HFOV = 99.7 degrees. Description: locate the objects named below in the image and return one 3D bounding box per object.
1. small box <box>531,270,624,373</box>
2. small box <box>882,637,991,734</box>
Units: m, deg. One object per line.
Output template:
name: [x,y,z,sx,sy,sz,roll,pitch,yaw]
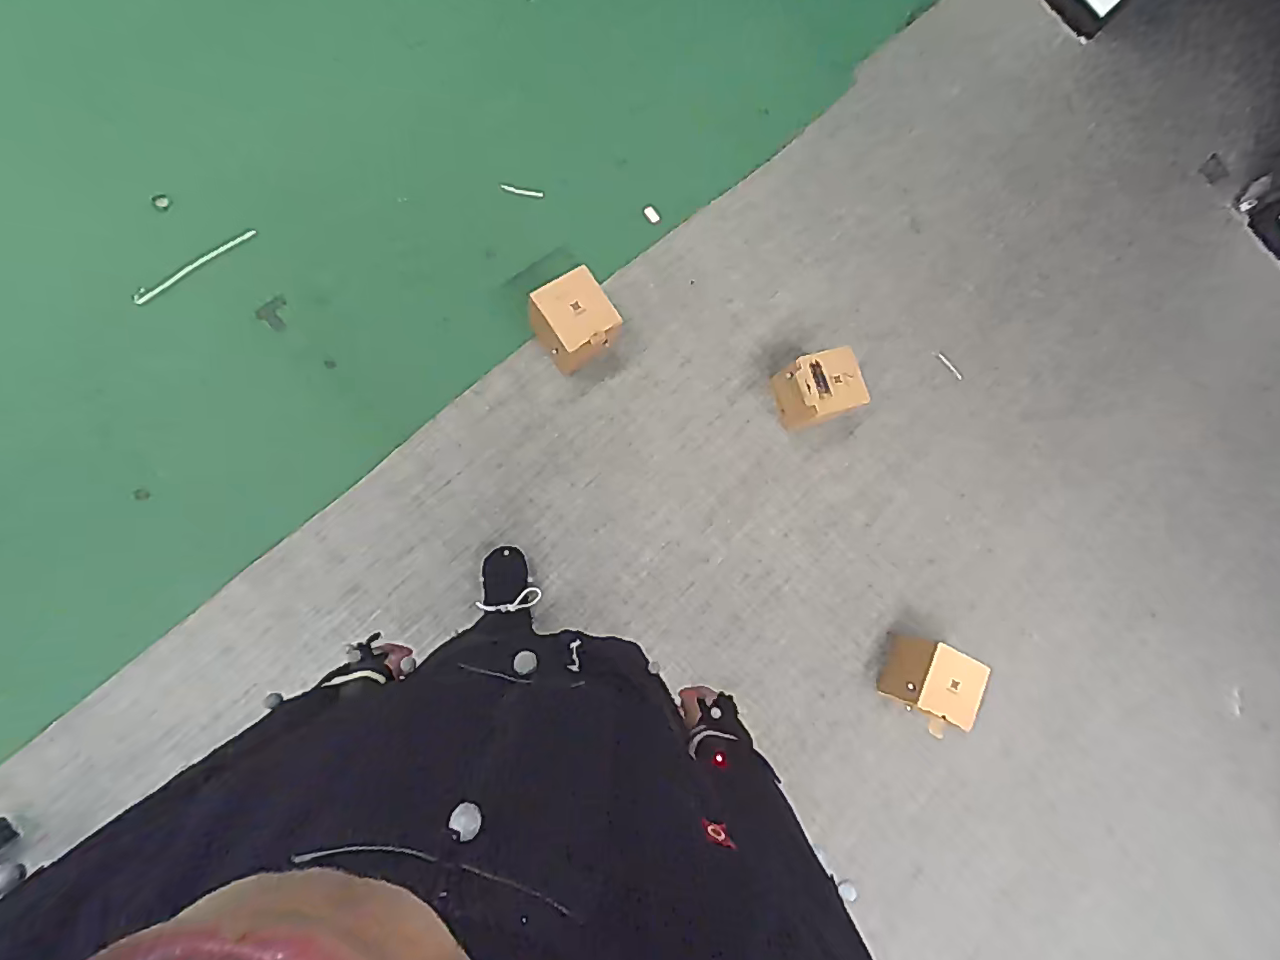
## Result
small box: [-0.166,-0.399,1.402,0.168,0.176,0.179,-35,89,-15]
small box: [0.786,0.540,1.448,0.168,0.176,0.179,28,78,-6]
